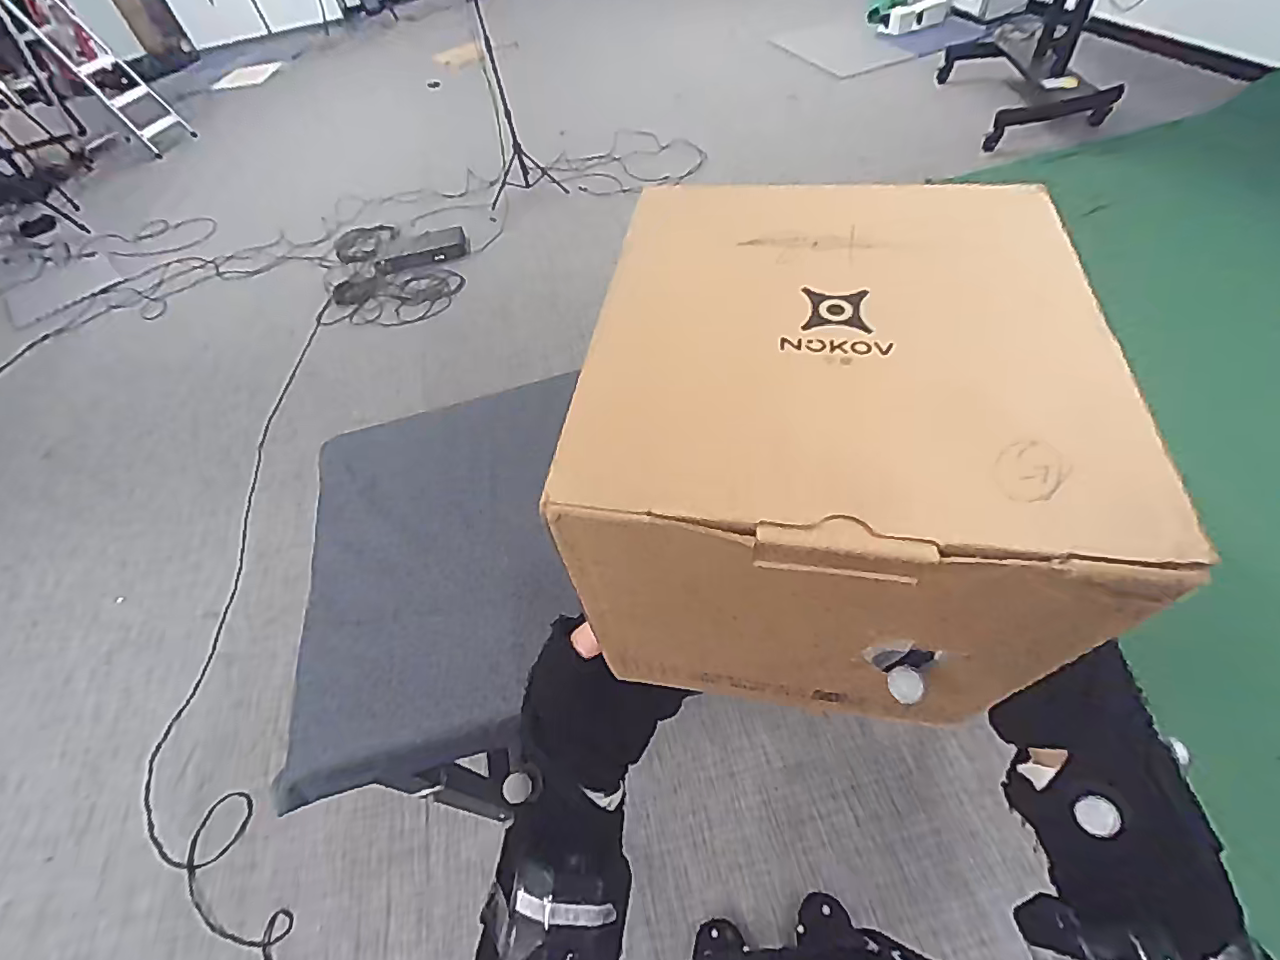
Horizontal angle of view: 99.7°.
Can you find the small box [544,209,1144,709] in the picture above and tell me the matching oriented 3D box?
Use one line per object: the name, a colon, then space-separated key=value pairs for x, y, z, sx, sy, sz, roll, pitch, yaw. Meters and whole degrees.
small box: x=0.070 y=-0.005 z=0.262 sx=0.168 sy=0.176 sz=0.179 roll=5 pitch=54 yaw=9
